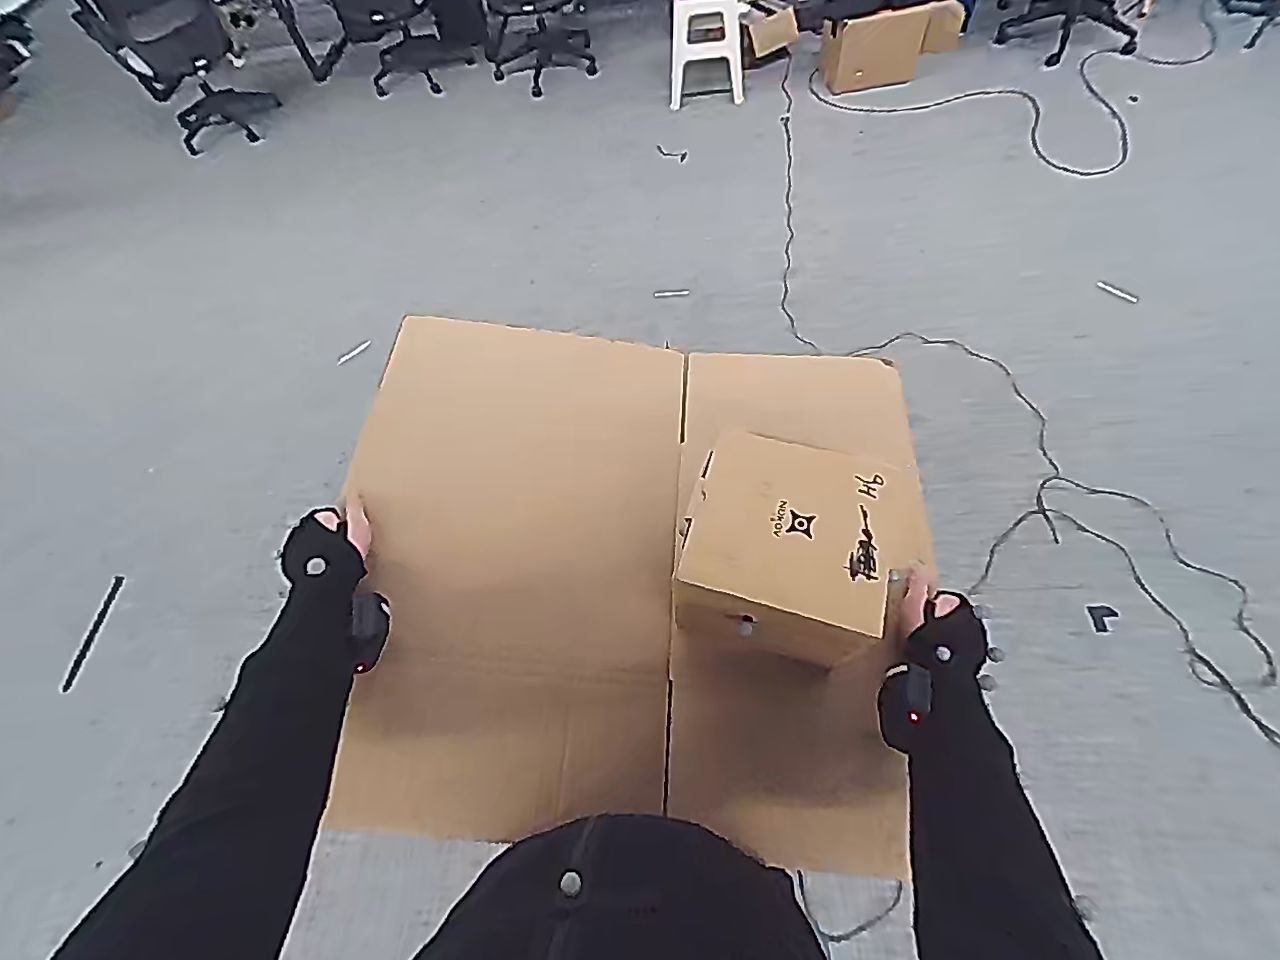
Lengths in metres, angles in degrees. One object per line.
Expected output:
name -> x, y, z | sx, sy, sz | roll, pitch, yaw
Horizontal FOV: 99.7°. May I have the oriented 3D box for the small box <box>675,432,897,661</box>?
small box -> 0.144, 0.076, 0.564 | 0.179, 0.176, 0.168 | 13, 64, 12
